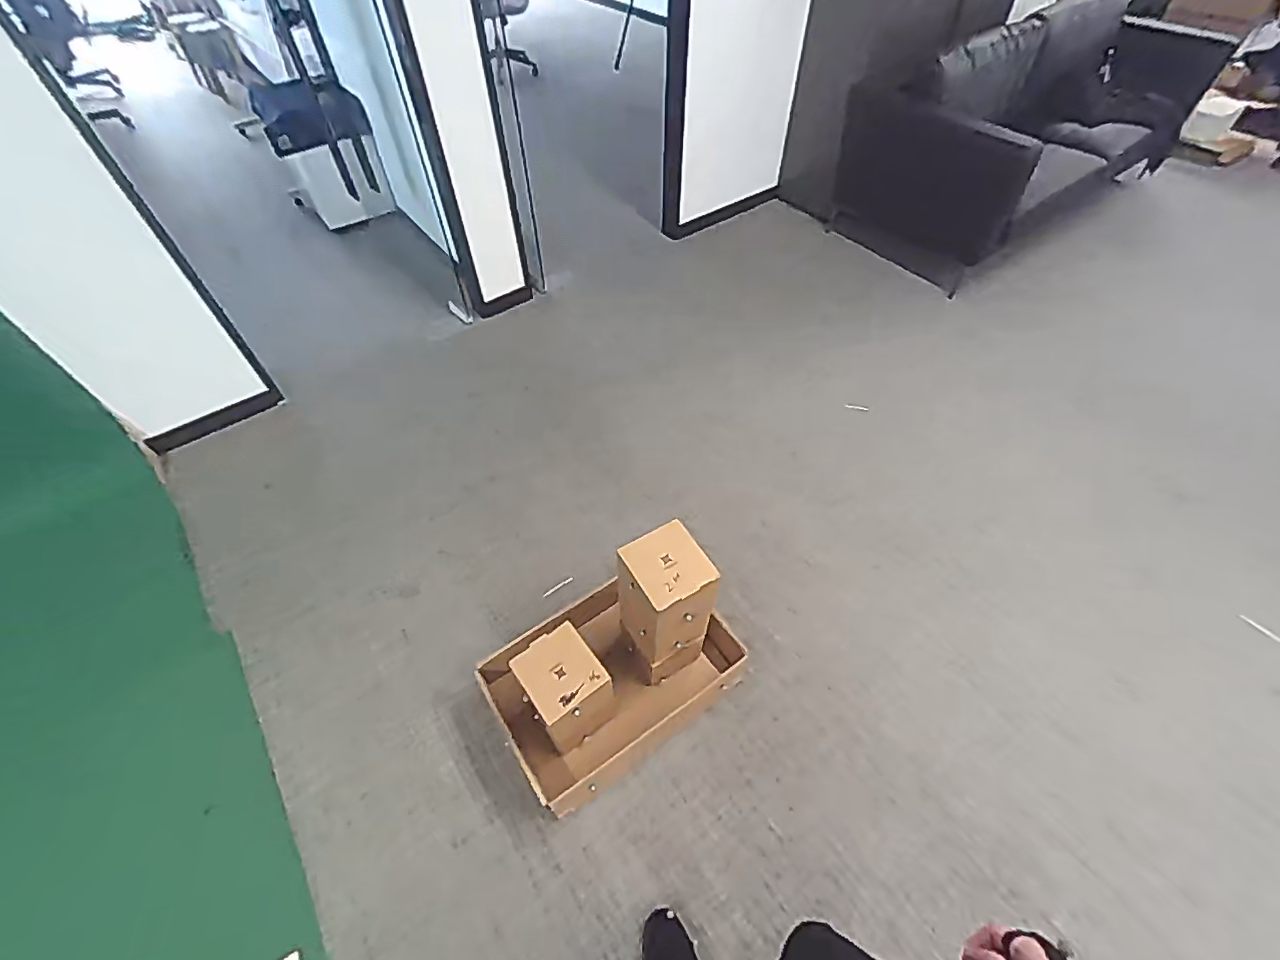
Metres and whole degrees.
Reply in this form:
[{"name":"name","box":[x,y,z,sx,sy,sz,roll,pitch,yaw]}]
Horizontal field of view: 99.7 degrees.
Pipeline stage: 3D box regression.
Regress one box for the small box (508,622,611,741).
[{"name":"small box","box":[-0.183,0.473,1.264,0.168,0.176,0.179,-32,59,-22]}]

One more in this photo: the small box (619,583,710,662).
[{"name":"small box","box":[0.055,0.330,1.377,0.168,0.176,0.179,-25,58,-19]}]

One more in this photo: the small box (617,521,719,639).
[{"name":"small box","box":[0.058,0.231,1.244,0.168,0.176,0.179,-26,58,-18]}]
